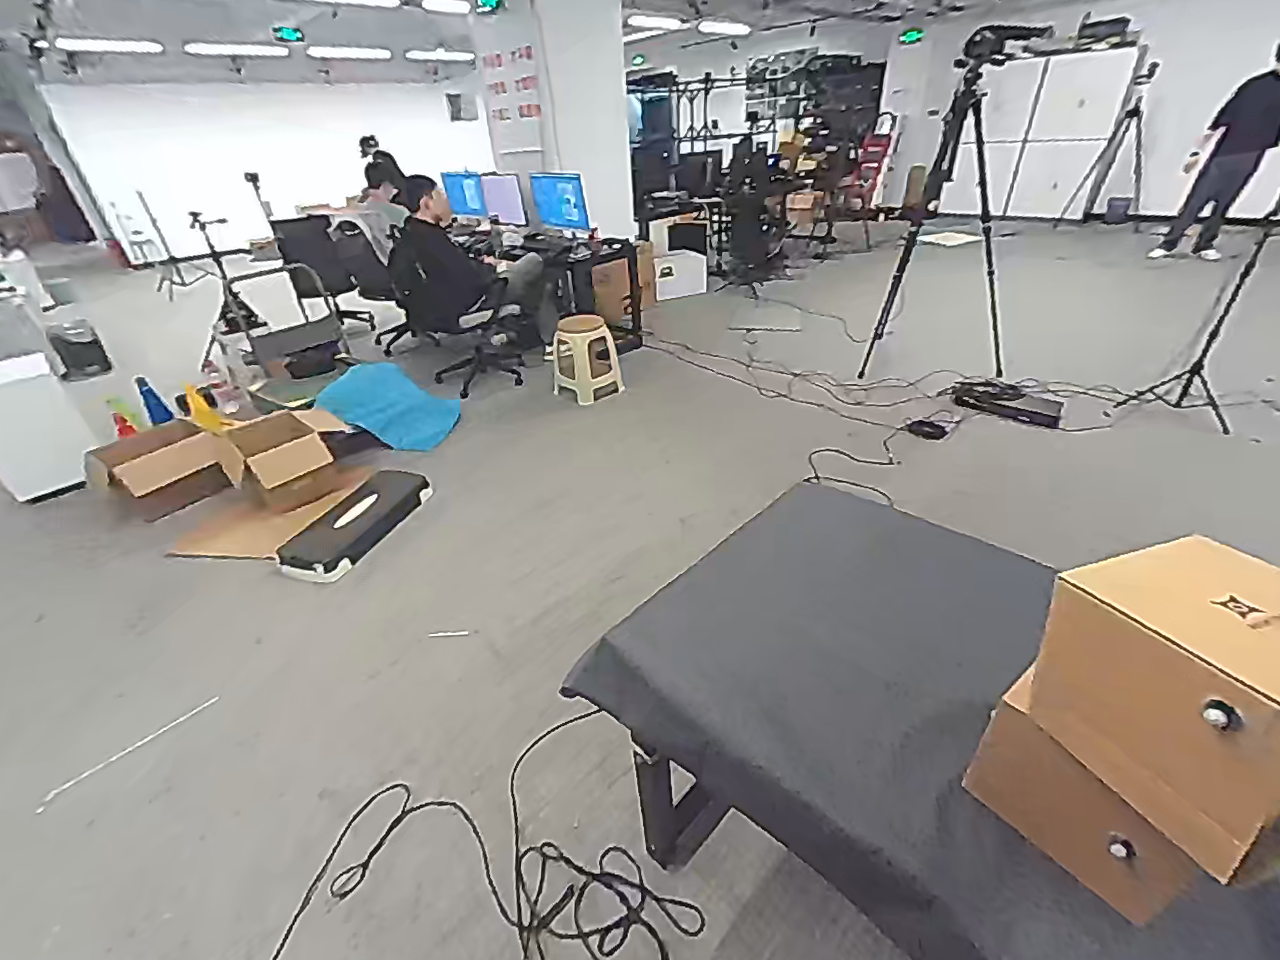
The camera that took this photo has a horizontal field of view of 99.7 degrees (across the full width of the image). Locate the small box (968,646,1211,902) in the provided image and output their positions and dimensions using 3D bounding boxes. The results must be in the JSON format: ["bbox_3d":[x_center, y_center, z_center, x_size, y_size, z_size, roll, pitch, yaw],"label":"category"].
[{"bbox_3d":[0.494,0.299,0.576,0.168,0.176,0.179,-23,36,-29],"label":"small box"}]

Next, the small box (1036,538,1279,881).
[{"bbox_3d":[0.477,0.173,0.447,0.168,0.176,0.179,-11,25,-10],"label":"small box"}]
